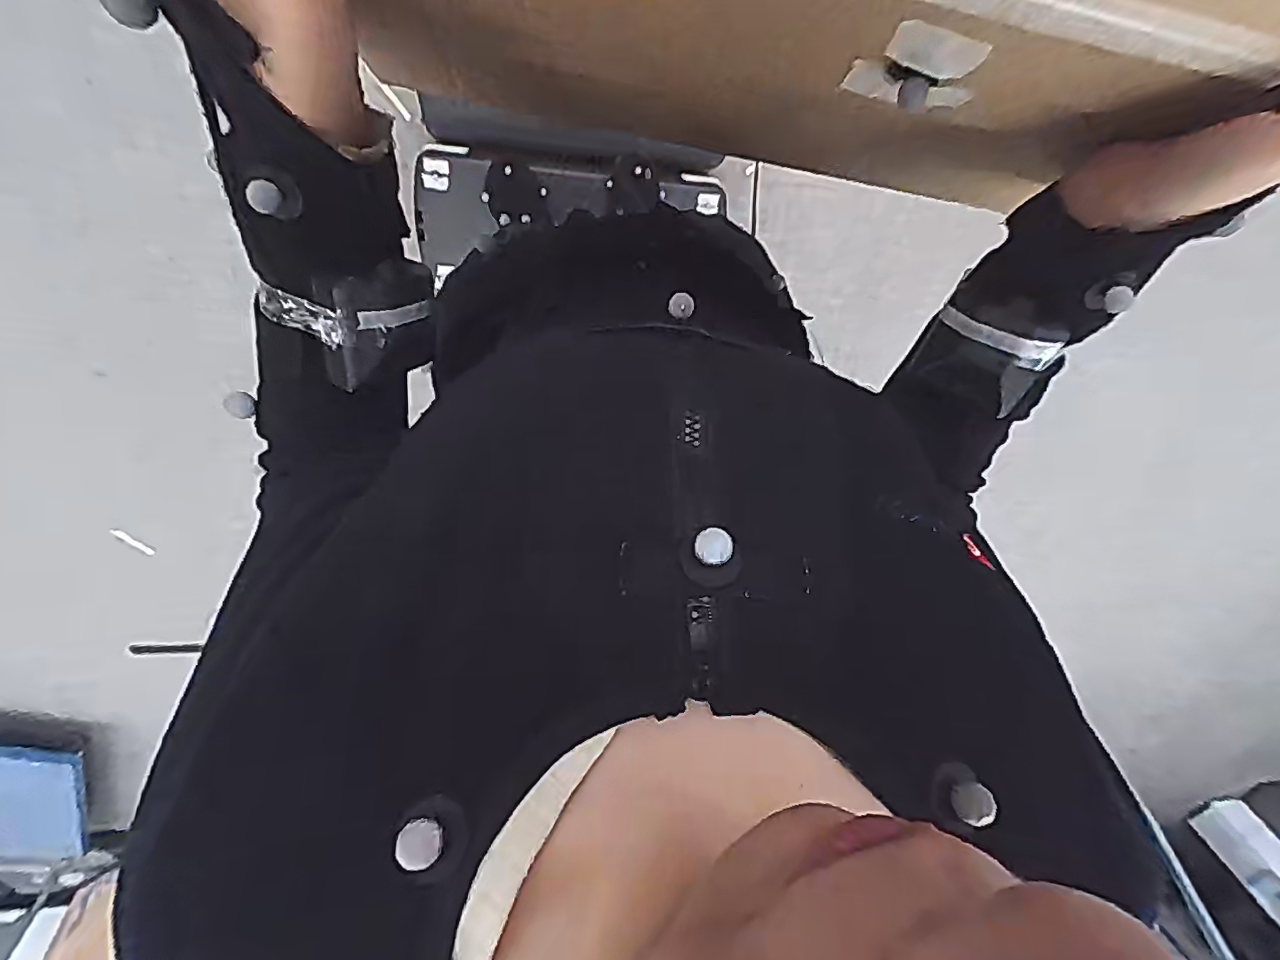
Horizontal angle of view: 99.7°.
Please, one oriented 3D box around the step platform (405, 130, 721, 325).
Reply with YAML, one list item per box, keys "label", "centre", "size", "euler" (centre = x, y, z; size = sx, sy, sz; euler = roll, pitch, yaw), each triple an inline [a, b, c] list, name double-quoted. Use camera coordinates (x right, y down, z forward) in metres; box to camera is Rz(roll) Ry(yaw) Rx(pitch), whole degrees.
- label: "step platform"
  centre: [-0.164, -0.560, 1.232]
  size: [0.684, 0.204, 0.286]
  euler: [7, 123, -11]
